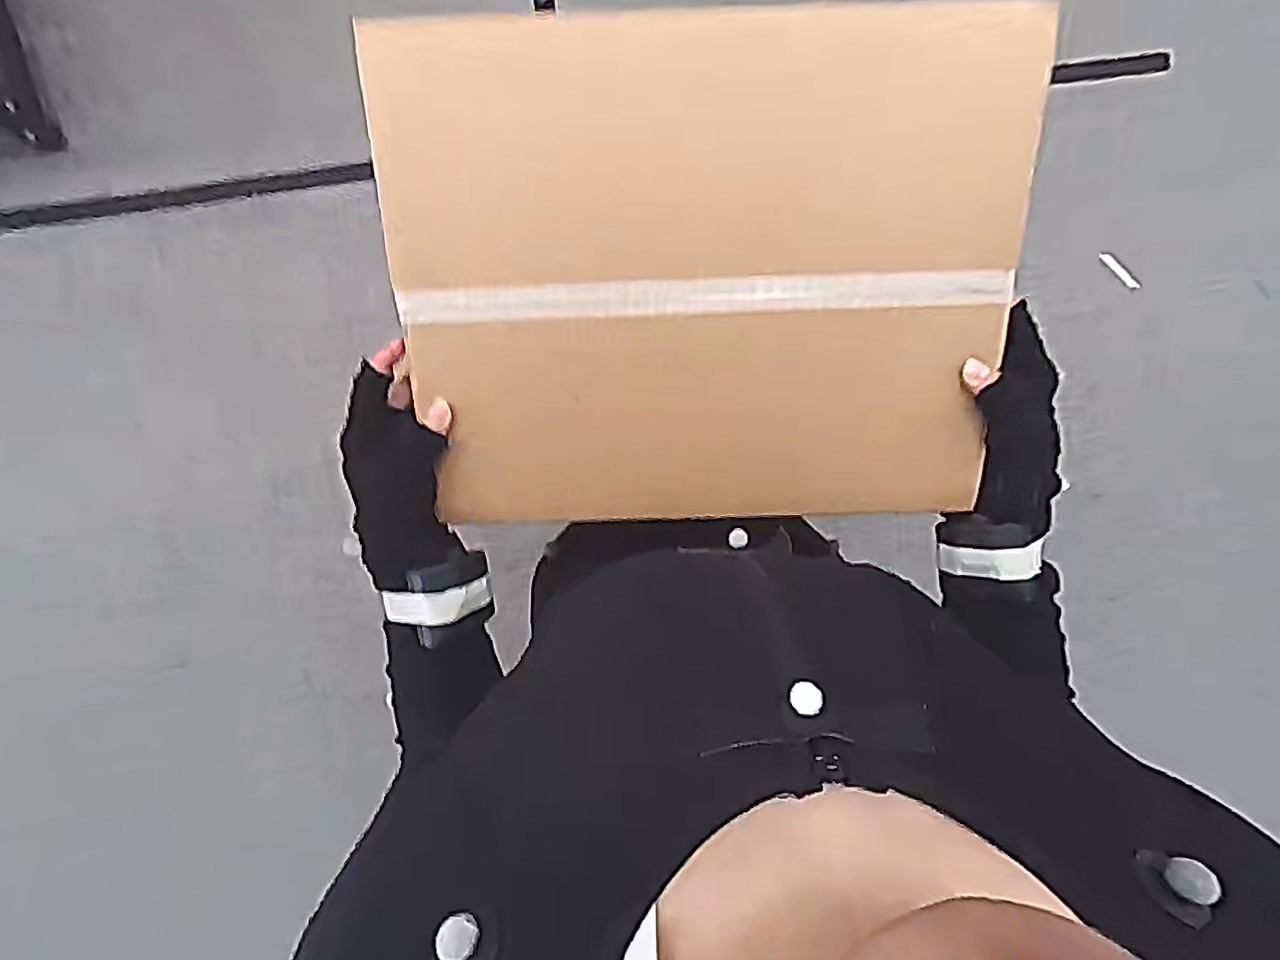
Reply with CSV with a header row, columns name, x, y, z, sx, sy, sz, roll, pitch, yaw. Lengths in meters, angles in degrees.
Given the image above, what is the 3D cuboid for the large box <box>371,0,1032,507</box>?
name,x,y,z,sx,sy,sz,roll,pitch,yaw
large box,0.039,-0.177,0.508,0.408,0.320,0.320,-1,109,0
